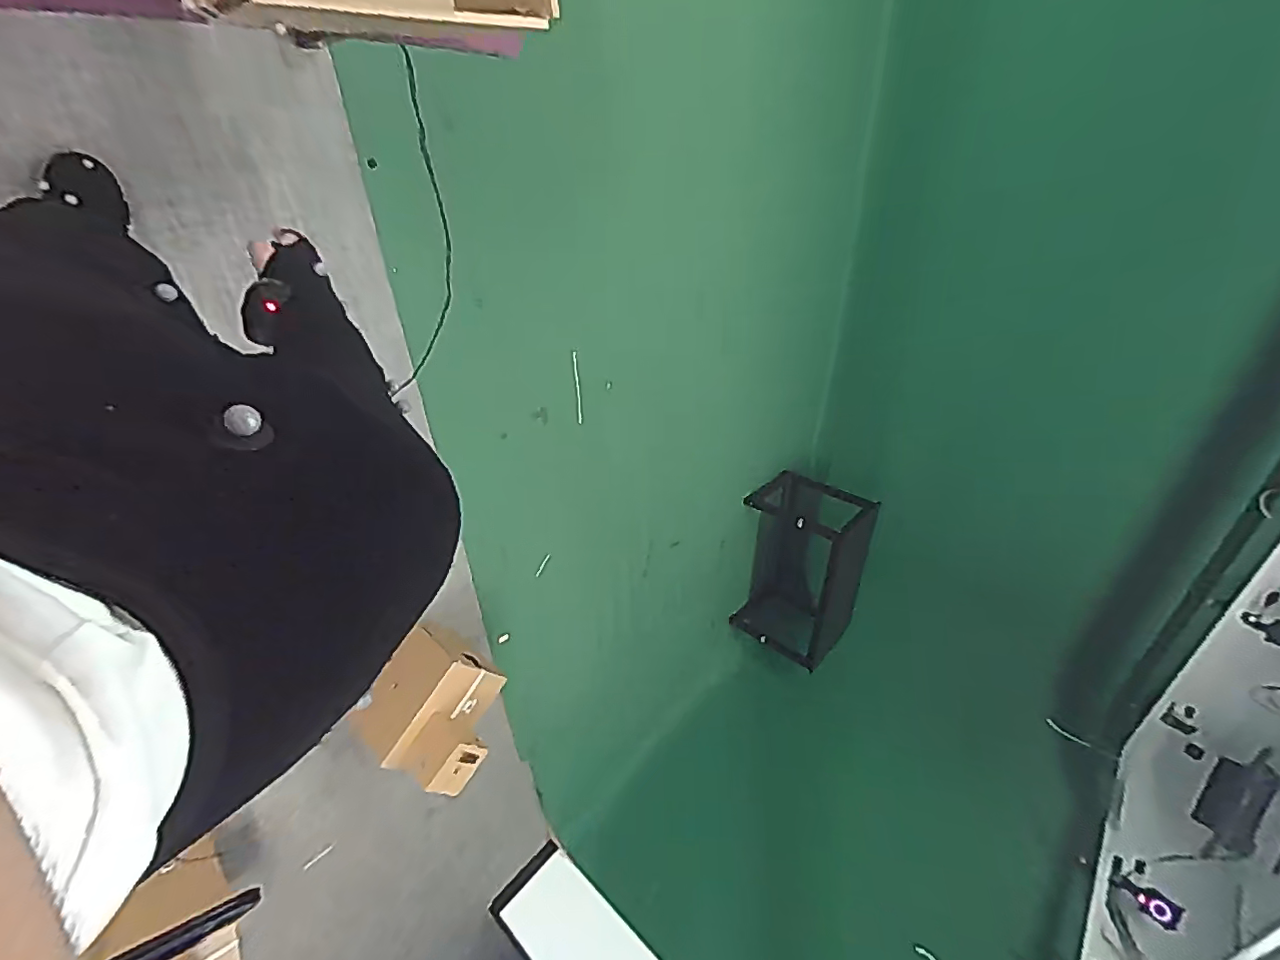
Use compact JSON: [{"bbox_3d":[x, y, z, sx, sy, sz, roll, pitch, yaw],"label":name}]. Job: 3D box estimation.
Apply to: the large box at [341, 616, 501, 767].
[{"bbox_3d":[-0.815,0.791,2.025,0.408,0.320,0.320,-57,145,-13],"label":"large box"}]
